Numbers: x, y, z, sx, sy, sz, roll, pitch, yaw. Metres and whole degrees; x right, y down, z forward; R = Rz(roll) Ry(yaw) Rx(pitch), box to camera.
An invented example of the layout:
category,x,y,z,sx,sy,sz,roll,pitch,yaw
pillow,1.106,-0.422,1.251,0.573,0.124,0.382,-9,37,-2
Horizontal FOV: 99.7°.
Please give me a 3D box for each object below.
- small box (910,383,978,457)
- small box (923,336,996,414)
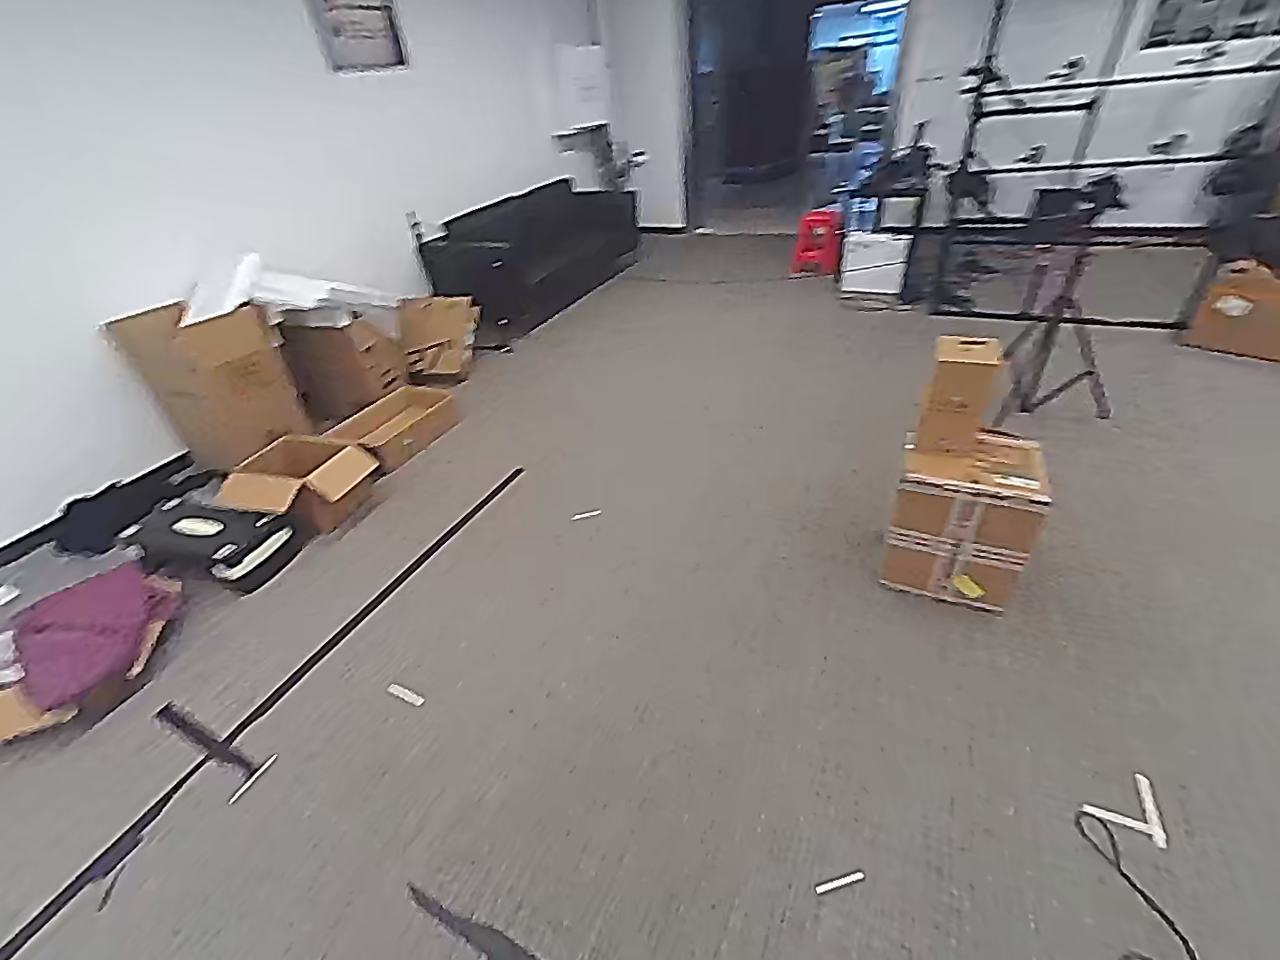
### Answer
category,x,y,z,sx,sy,sz,roll,pitch,yaw
small box,0.986,-0.199,1.766,0.168,0.176,0.179,7,40,22
small box,0.977,-0.325,1.659,0.168,0.176,0.179,10,42,25
